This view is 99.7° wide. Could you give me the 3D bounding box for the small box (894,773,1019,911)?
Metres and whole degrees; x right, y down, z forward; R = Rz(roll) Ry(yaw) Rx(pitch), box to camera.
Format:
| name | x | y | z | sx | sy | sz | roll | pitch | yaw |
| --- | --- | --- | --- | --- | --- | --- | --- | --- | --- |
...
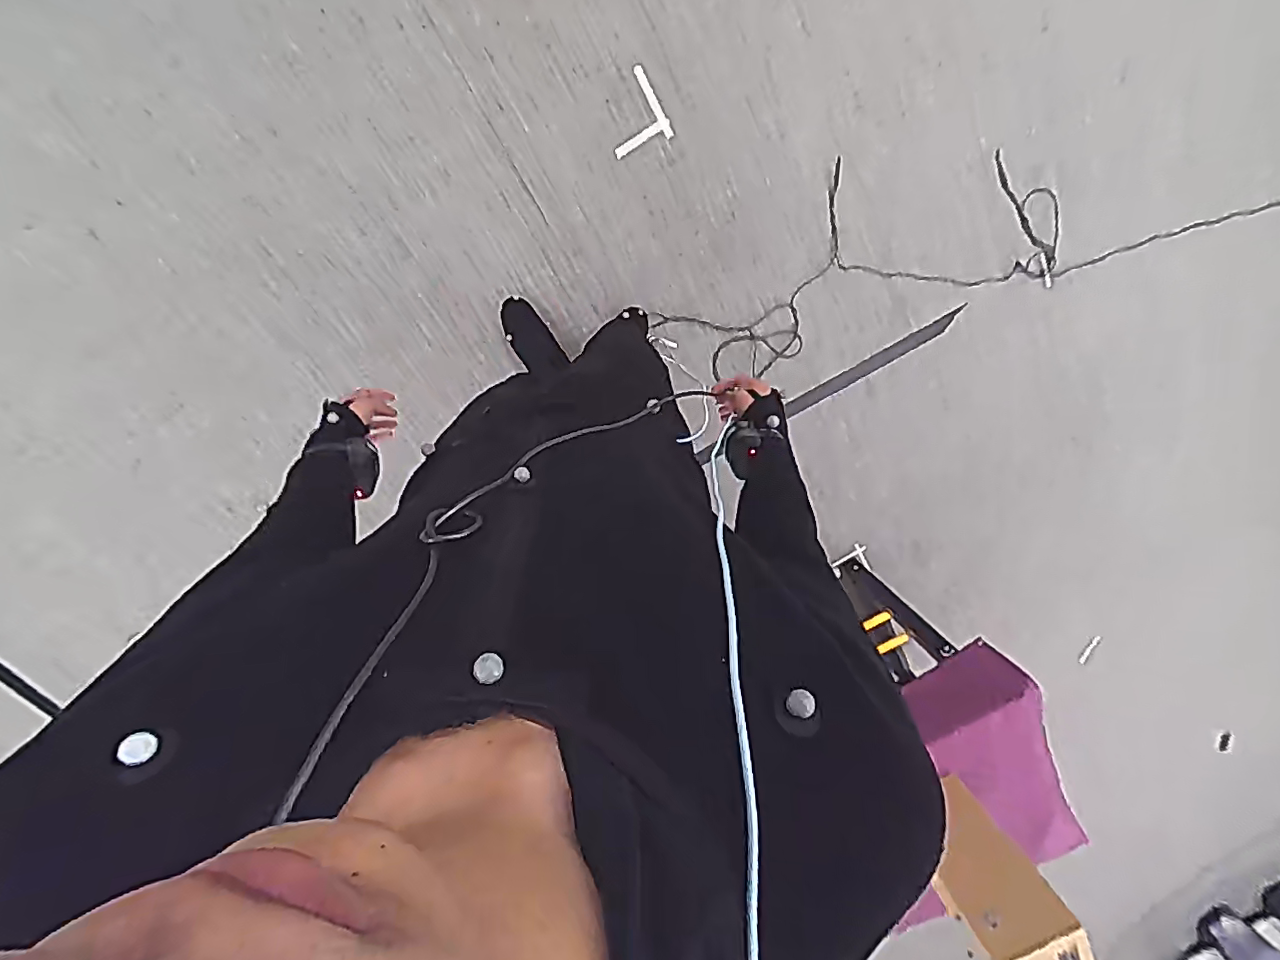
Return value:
| name | x | y | z | sx | sy | sz | roll | pitch | yaw |
| --- | --- | --- | --- | --- | --- | --- | --- | --- | --- |
| small box | 0.709 | 0.819 | 1.233 | 0.179 | 0.176 | 0.168 | -28 | 112 | 2 |
